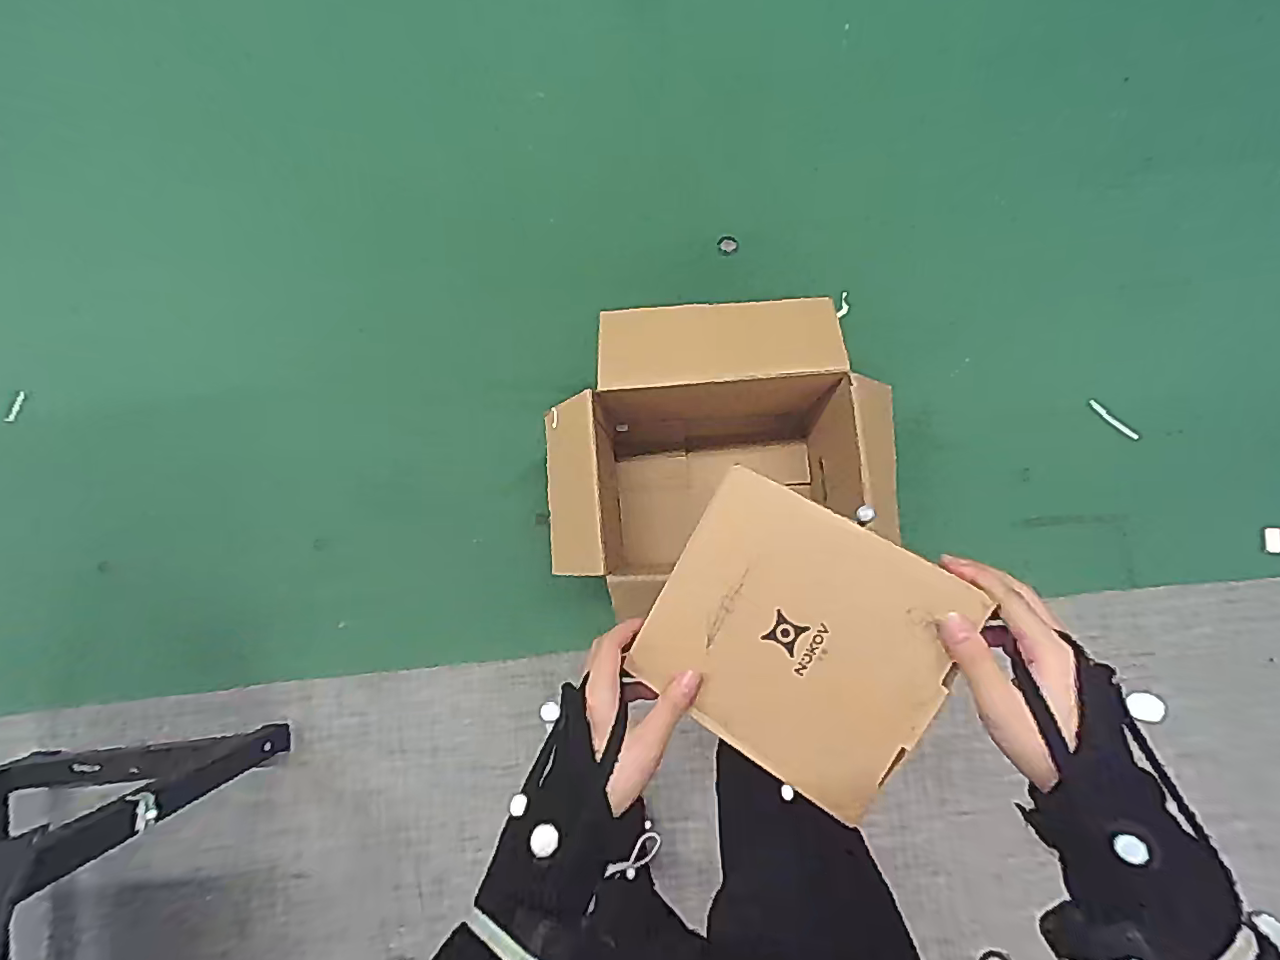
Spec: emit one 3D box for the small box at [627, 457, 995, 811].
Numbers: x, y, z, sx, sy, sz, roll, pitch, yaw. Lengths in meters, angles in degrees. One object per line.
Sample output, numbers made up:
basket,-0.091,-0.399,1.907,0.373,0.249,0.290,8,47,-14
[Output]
small box,0.124,0.096,0.420,0.179,0.176,0.168,29,96,19
